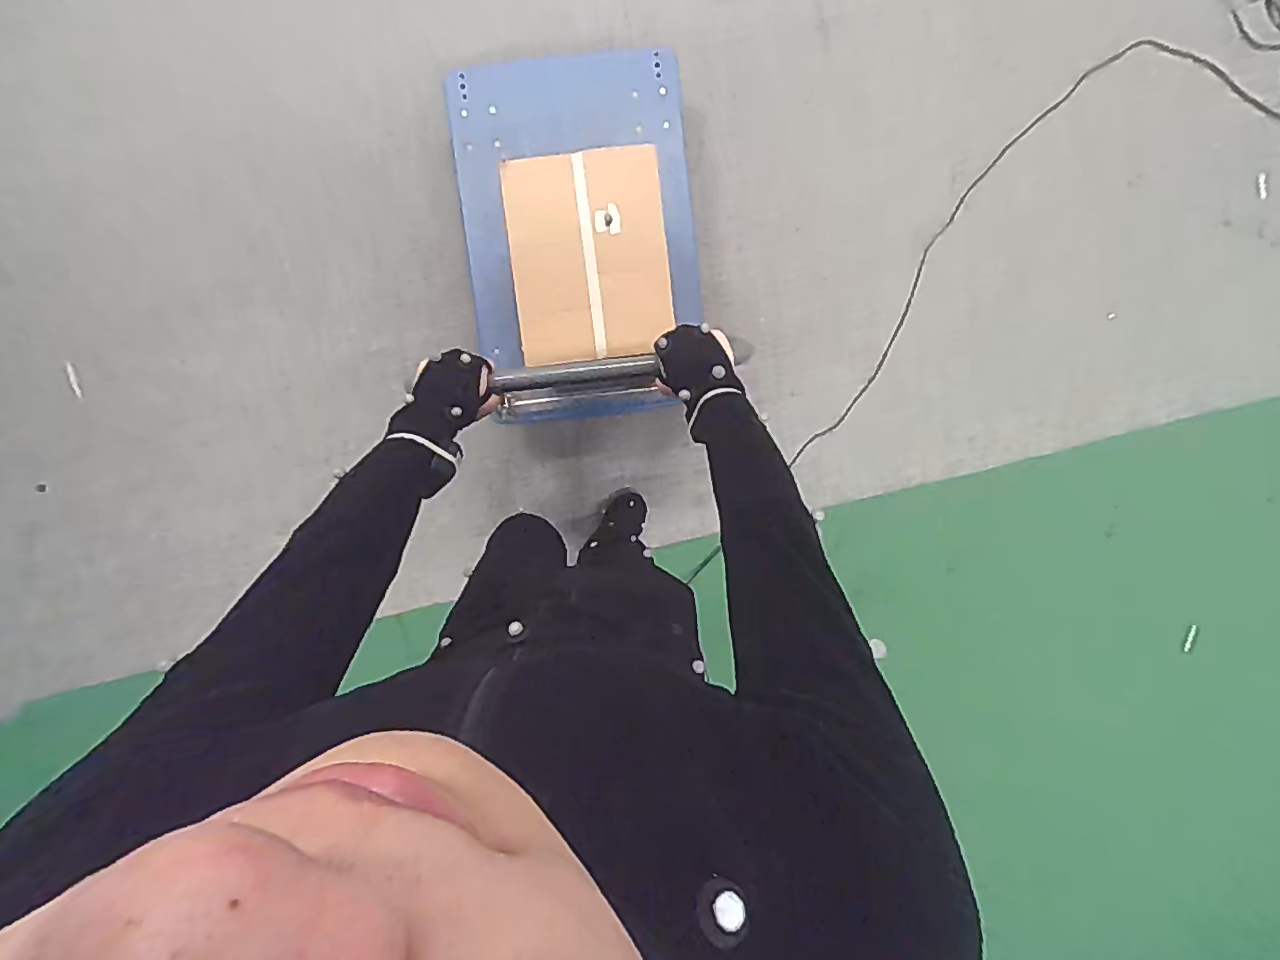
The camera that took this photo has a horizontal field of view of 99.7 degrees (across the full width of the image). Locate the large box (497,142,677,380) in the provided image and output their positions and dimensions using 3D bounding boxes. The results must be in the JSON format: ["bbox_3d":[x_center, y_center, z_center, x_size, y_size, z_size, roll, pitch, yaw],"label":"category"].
[{"bbox_3d":[-0.105,-0.462,1.228,0.320,0.320,0.408,-8,94,-1],"label":"large box"}]
